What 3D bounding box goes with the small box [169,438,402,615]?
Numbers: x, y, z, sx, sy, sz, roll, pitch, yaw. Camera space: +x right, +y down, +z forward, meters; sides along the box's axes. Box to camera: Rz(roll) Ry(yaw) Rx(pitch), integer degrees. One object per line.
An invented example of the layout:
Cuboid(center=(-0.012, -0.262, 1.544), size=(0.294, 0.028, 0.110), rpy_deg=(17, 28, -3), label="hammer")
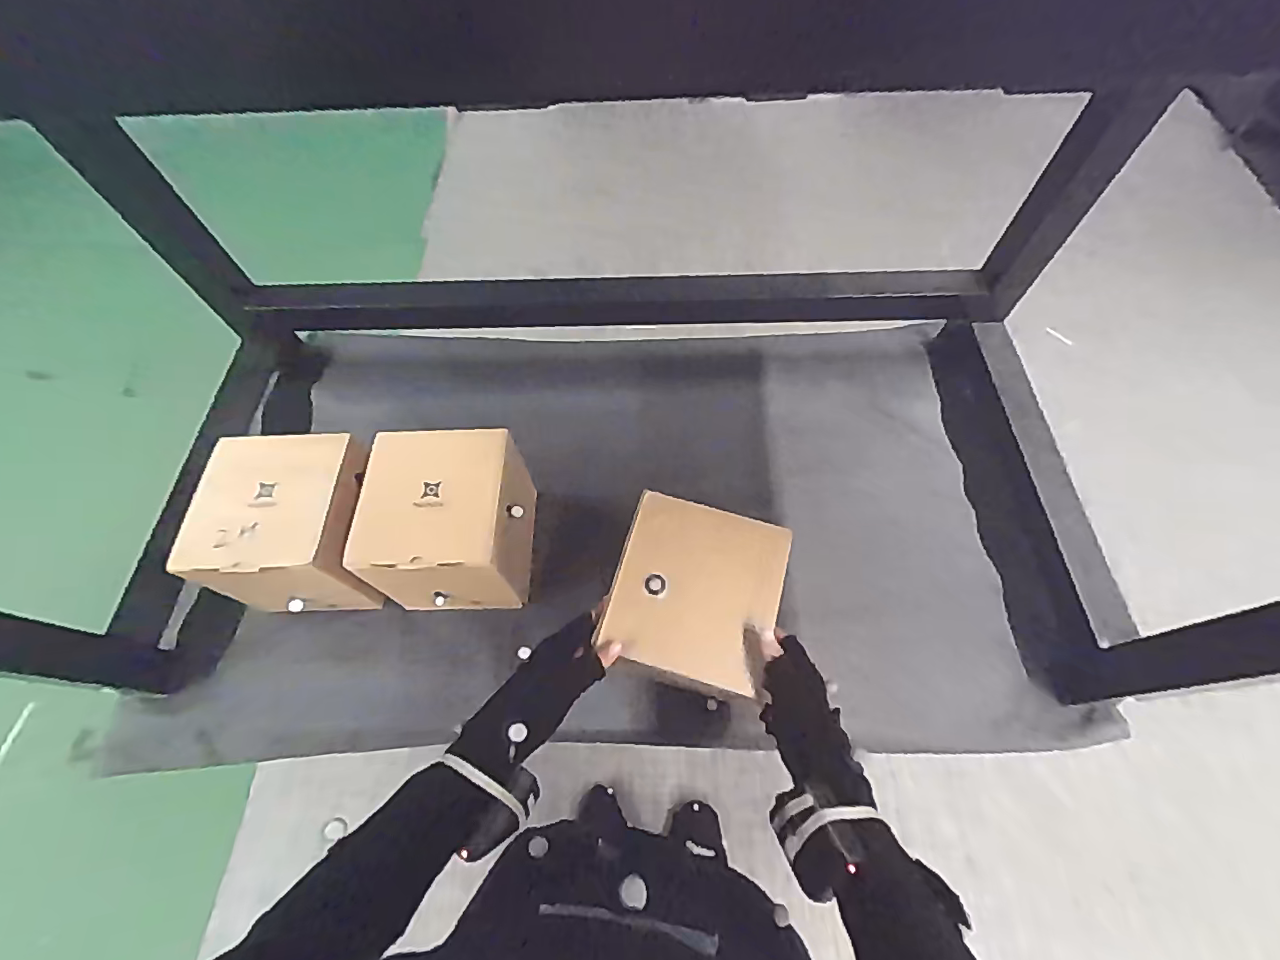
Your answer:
Cuboid(center=(-0.429, 0.064, 0.695), size=(0.168, 0.176, 0.179), rpy_deg=(-2, 61, 2), label="small box")
